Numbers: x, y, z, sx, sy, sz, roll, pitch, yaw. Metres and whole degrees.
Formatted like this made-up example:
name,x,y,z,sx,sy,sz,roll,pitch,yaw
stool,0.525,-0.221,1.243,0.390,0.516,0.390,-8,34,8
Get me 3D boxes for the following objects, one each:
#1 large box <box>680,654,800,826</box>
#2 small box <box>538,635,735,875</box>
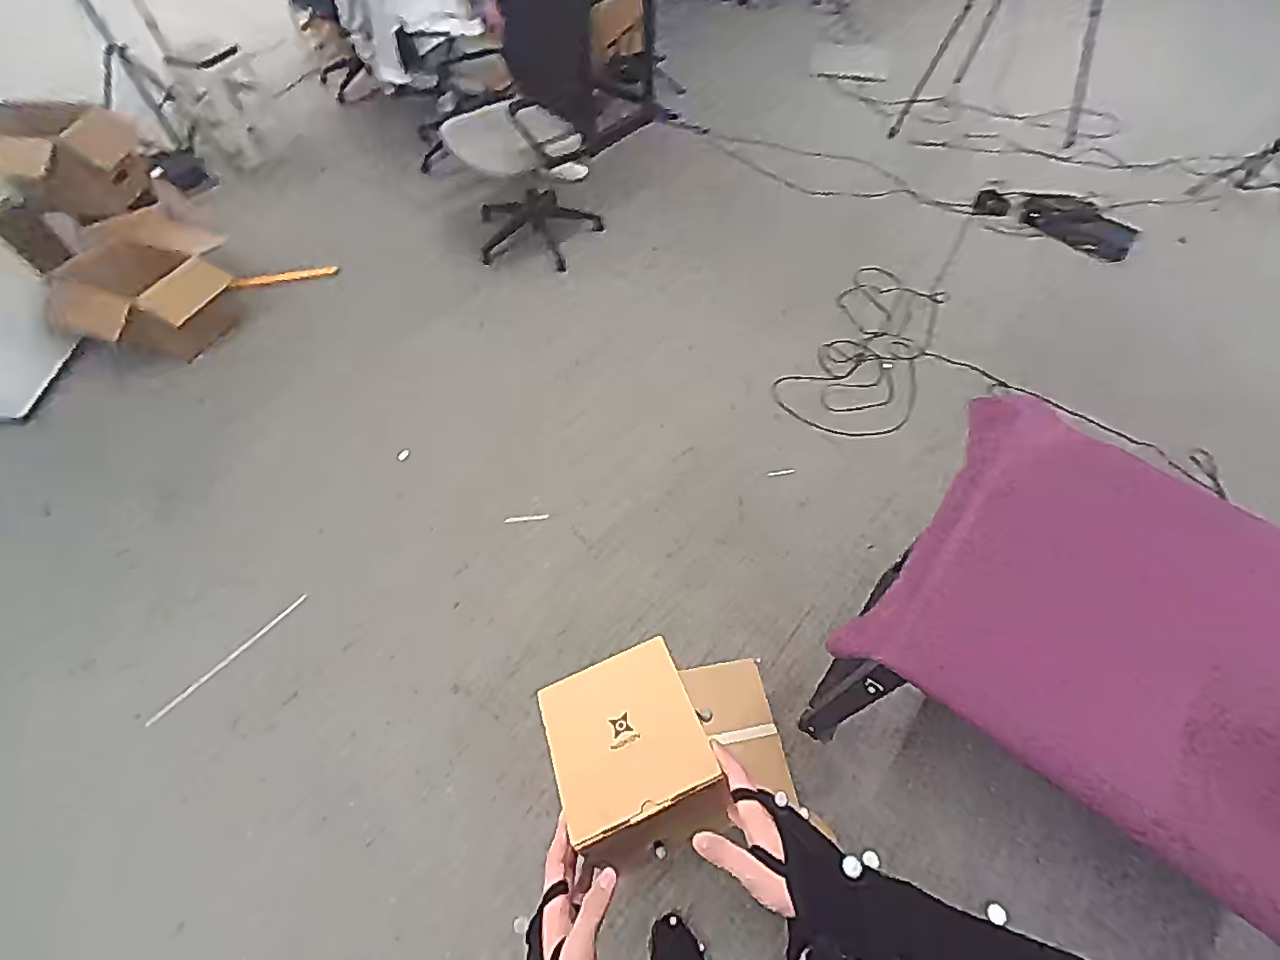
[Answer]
name,x,y,z,sx,sy,sz,roll,pitch,yaw
large box,0.097,0.638,1.258,0.408,0.320,0.320,-9,57,-6
small box,-0.002,0.323,0.636,0.168,0.176,0.179,-23,45,-6
